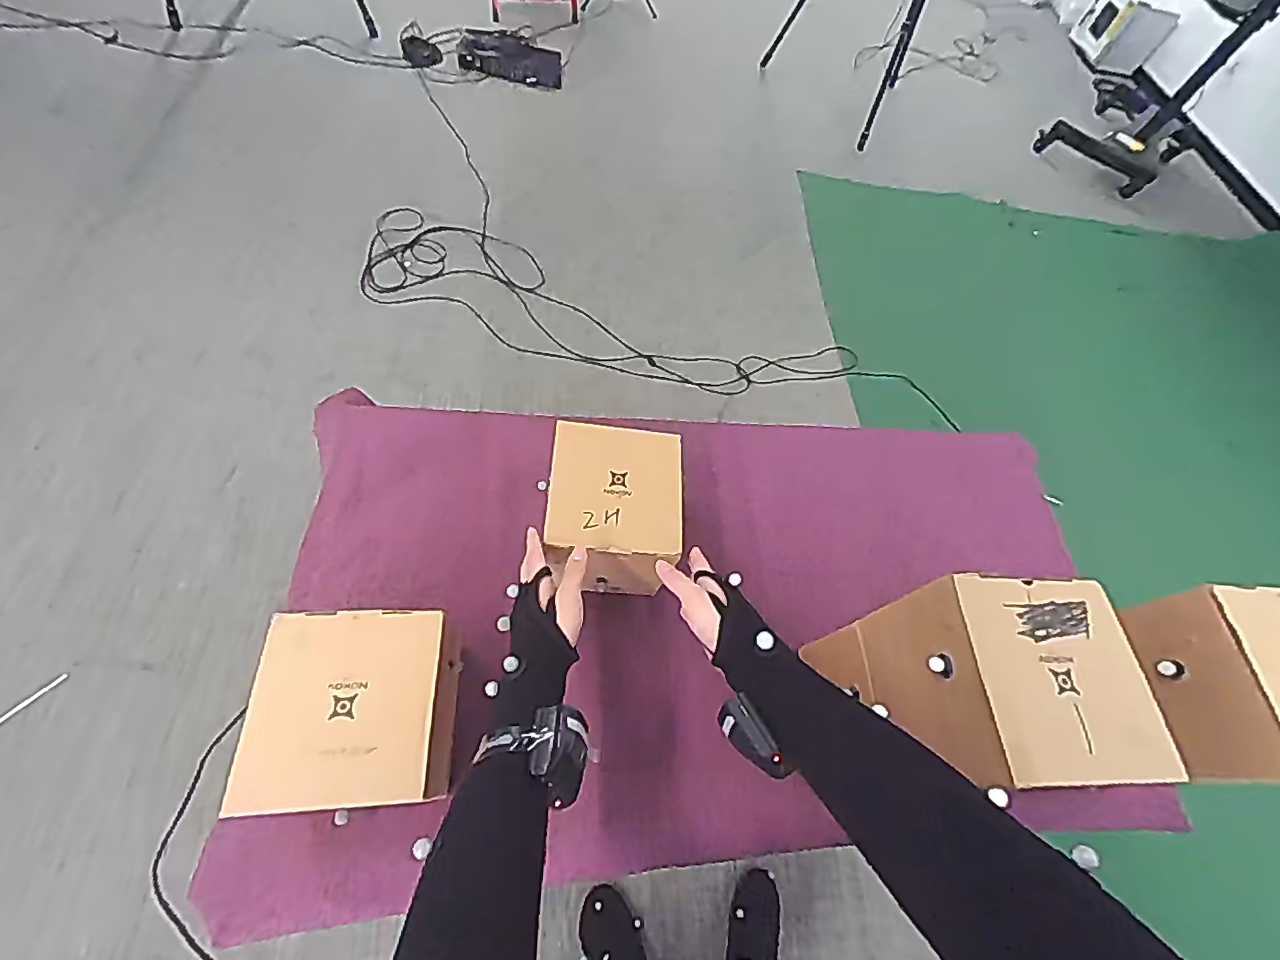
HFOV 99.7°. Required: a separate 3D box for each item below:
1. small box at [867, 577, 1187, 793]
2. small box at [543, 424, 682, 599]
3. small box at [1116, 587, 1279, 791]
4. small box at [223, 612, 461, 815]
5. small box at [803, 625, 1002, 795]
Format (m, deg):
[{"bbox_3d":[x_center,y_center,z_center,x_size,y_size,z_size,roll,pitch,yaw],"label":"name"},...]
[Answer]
[{"bbox_3d":[0.353,0.210,0.540,0.168,0.176,0.179,4,61,-8],"label":"small box"},{"bbox_3d":[-0.041,0.049,0.739,0.168,0.176,0.179,6,61,-7],"label":"small box"},{"bbox_3d":[0.632,0.229,0.578,0.168,0.176,0.179,5,60,-7],"label":"small box"},{"bbox_3d":[-0.292,0.251,0.581,0.168,0.176,0.179,2,61,-10],"label":"small box"},{"bbox_3d":[0.326,0.292,0.680,0.168,0.176,0.179,3,60,-9],"label":"small box"}]
